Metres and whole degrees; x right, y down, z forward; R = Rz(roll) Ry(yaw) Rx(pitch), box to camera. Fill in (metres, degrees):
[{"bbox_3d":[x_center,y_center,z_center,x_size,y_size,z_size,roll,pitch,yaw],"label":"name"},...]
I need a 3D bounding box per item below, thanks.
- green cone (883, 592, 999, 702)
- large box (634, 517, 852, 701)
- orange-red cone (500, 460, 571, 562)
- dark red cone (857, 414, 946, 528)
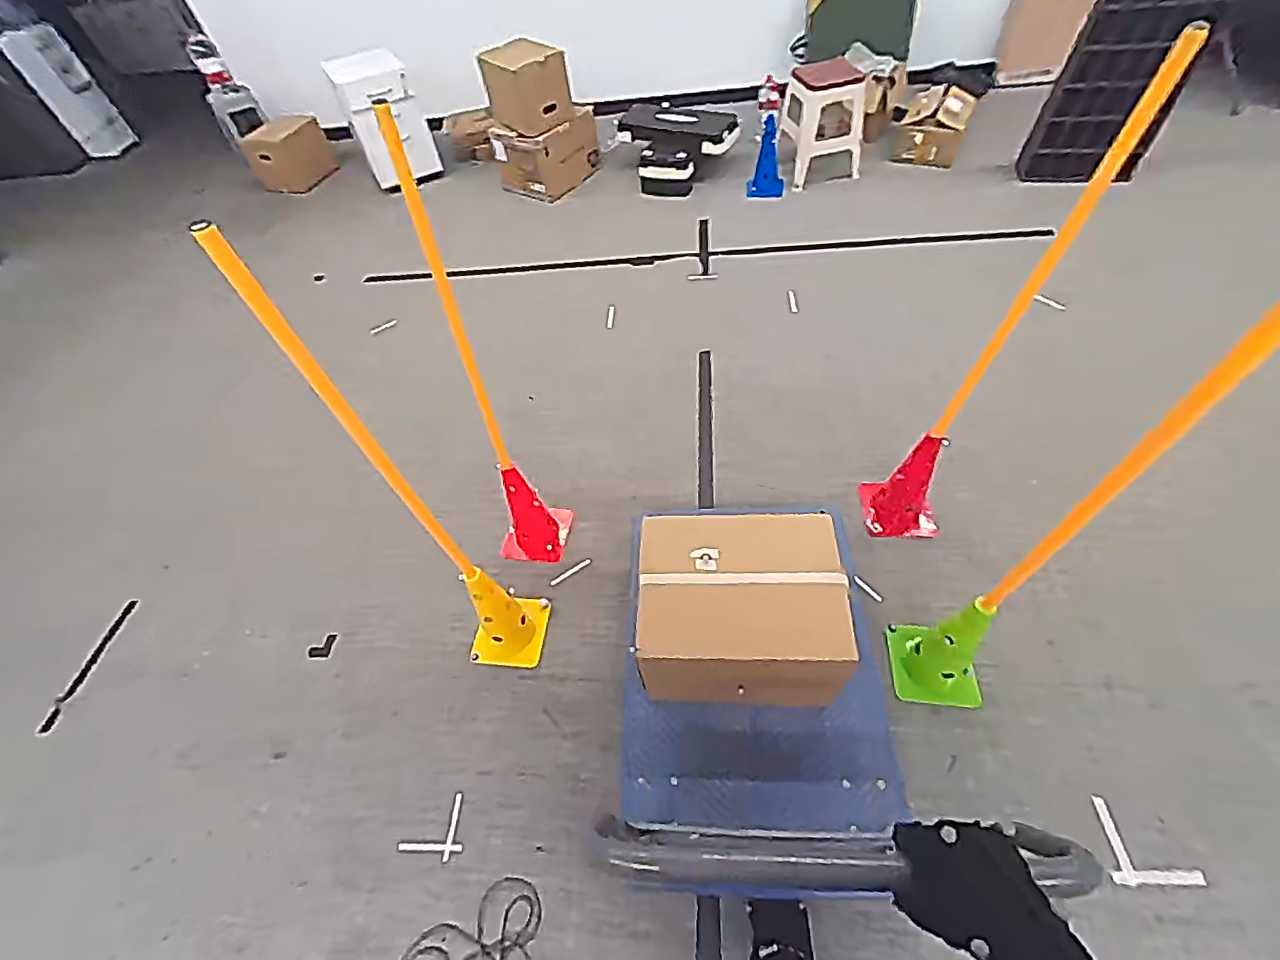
[{"bbox_3d":[0.732,0.361,1.263,0.202,0.368,0.200,3,53,7],"label":"green cone"},{"bbox_3d":[0.208,0.296,1.197,0.408,0.320,0.320,-2,53,7],"label":"large box"},{"bbox_3d":[-0.351,0.066,1.622,0.198,0.360,0.199,6,52,10],"label":"orange-red cone"},{"bbox_3d":[0.775,-0.036,1.538,0.201,0.394,0.202,0,53,5],"label":"dark red cone"}]
